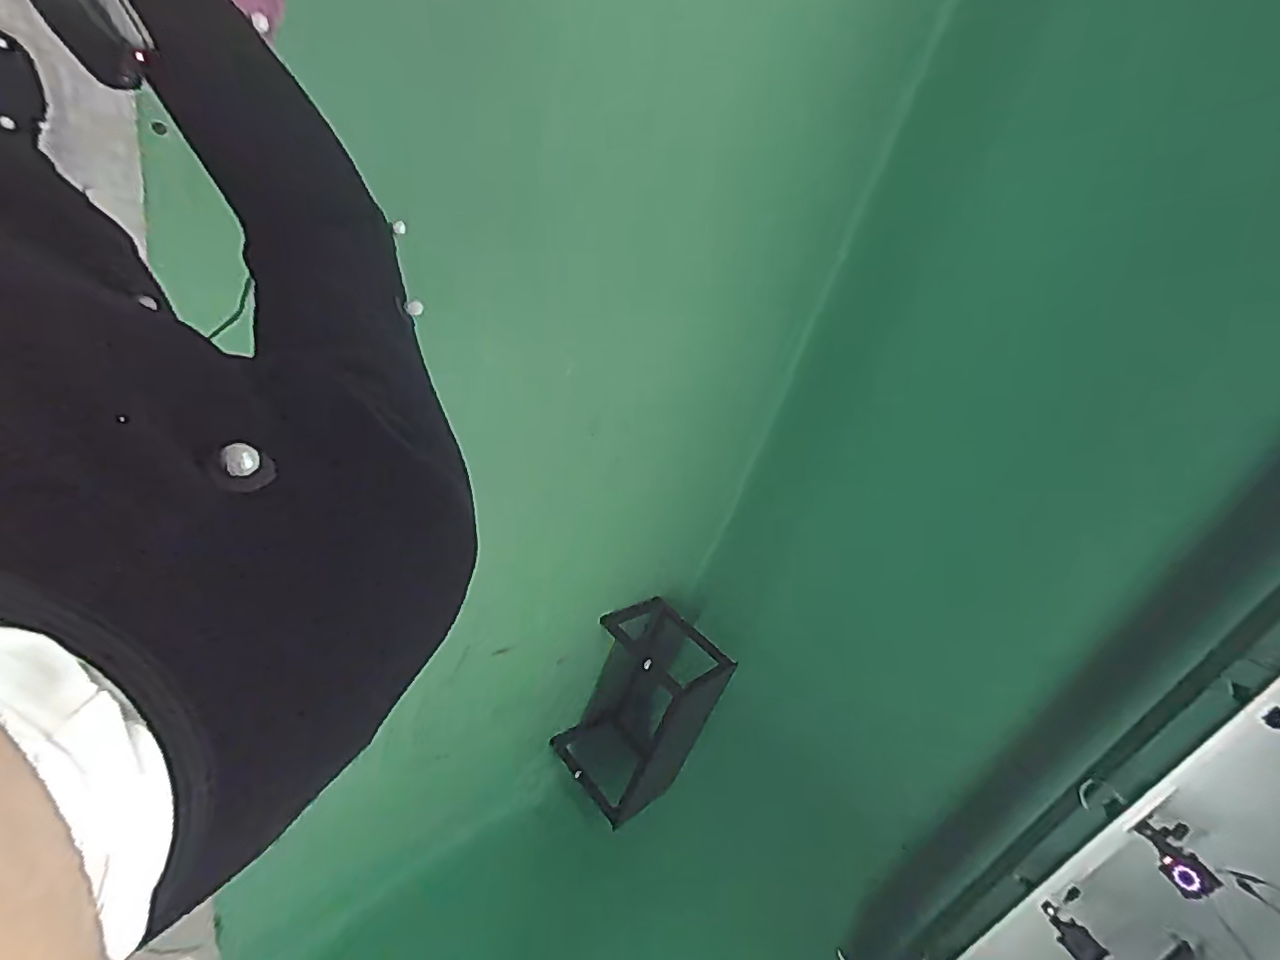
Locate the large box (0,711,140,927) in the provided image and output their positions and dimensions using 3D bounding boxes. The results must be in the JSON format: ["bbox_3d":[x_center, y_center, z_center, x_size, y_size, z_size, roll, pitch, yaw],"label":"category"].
[{"bbox_3d":[-1.694,0.915,1.442,0.408,0.320,0.320,-38,145,-24],"label":"large box"}]
